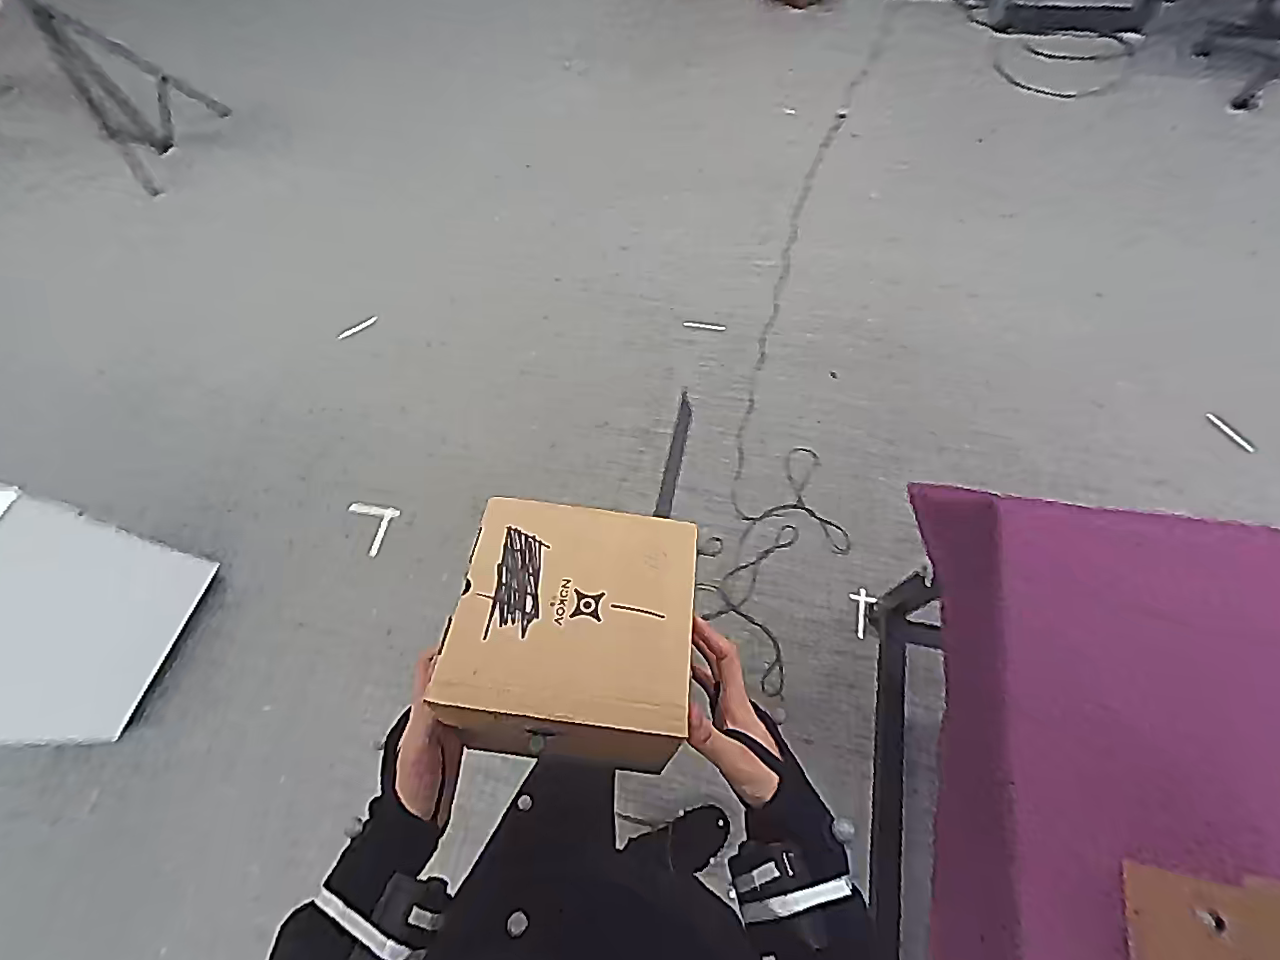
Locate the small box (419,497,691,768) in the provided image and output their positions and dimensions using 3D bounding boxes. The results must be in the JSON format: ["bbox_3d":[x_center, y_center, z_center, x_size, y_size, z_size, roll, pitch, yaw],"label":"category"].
[{"bbox_3d":[-0.057,0.137,0.465,0.179,0.176,0.168,8,53,0],"label":"small box"}]
